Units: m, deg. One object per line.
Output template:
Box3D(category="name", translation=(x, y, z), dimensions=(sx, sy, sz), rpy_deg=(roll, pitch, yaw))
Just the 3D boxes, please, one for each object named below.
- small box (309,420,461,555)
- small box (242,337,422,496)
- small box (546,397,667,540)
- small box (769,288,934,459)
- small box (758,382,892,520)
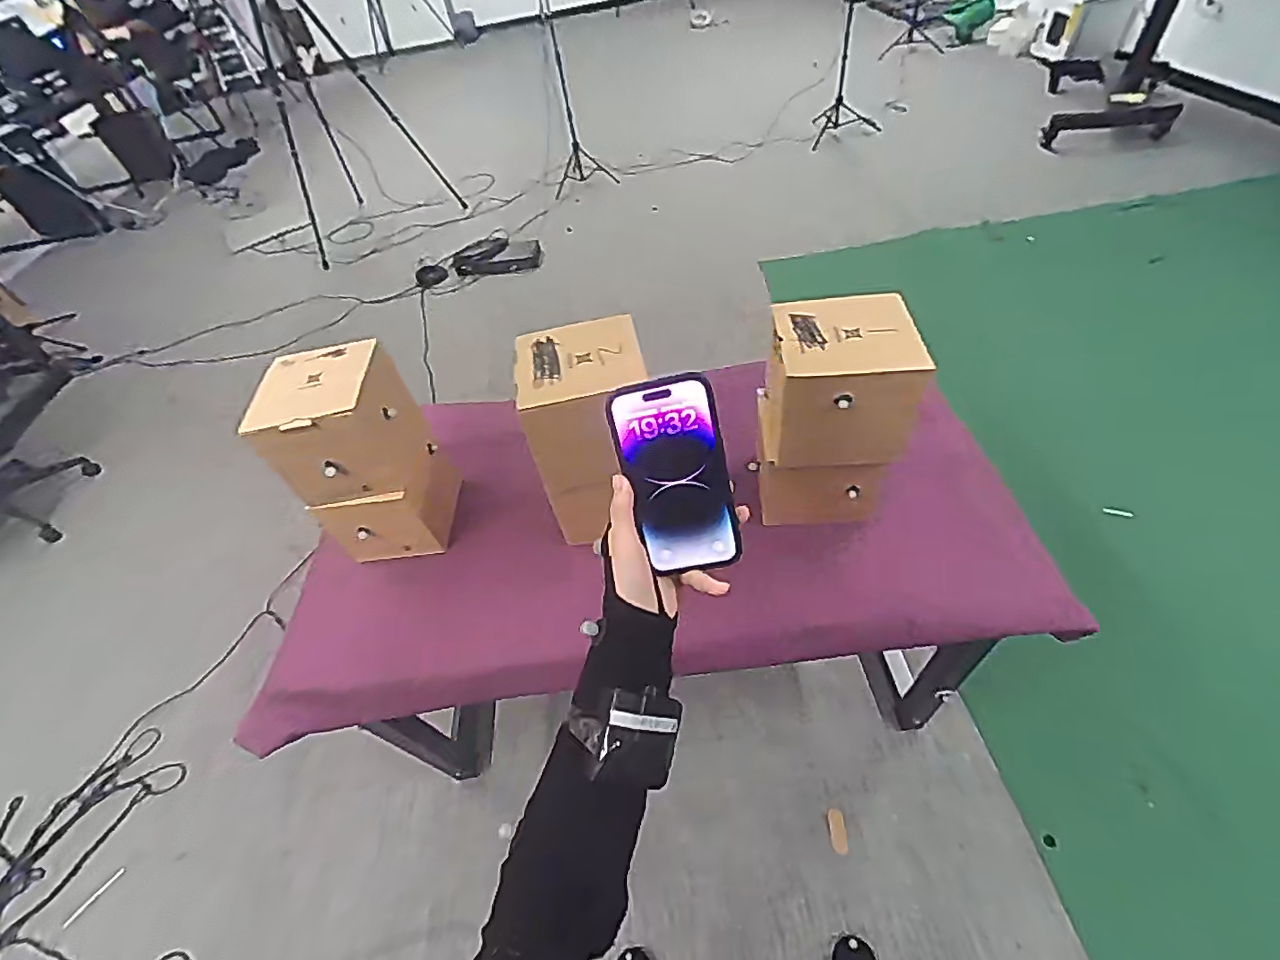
Box3D(category="small box", translation=(-0.436, 0.021, 0.962), dimensions=(0.168, 0.176, 0.179), rpy_deg=(-7, 49, 5))
Box3D(category="small box", translation=(-0.460, -0.091, 0.843), dimensions=(0.168, 0.176, 0.179), rpy_deg=(-11, 50, 1))
Box3D(category="small box", translation=(-0.049, -0.015, 0.919), dimensions=(0.179, 0.176, 0.168), rpy_deg=(-8, 49, 4))
Box3D(category="small box", translation=(0.275, -0.143, 0.752), dimensions=(0.179, 0.176, 0.168), rpy_deg=(-3, 49, 7))
Box3D(category="small box", translation=(0.289, -0.048, 0.886), dimensions=(0.179, 0.176, 0.168), rpy_deg=(-3, 49, 9))
